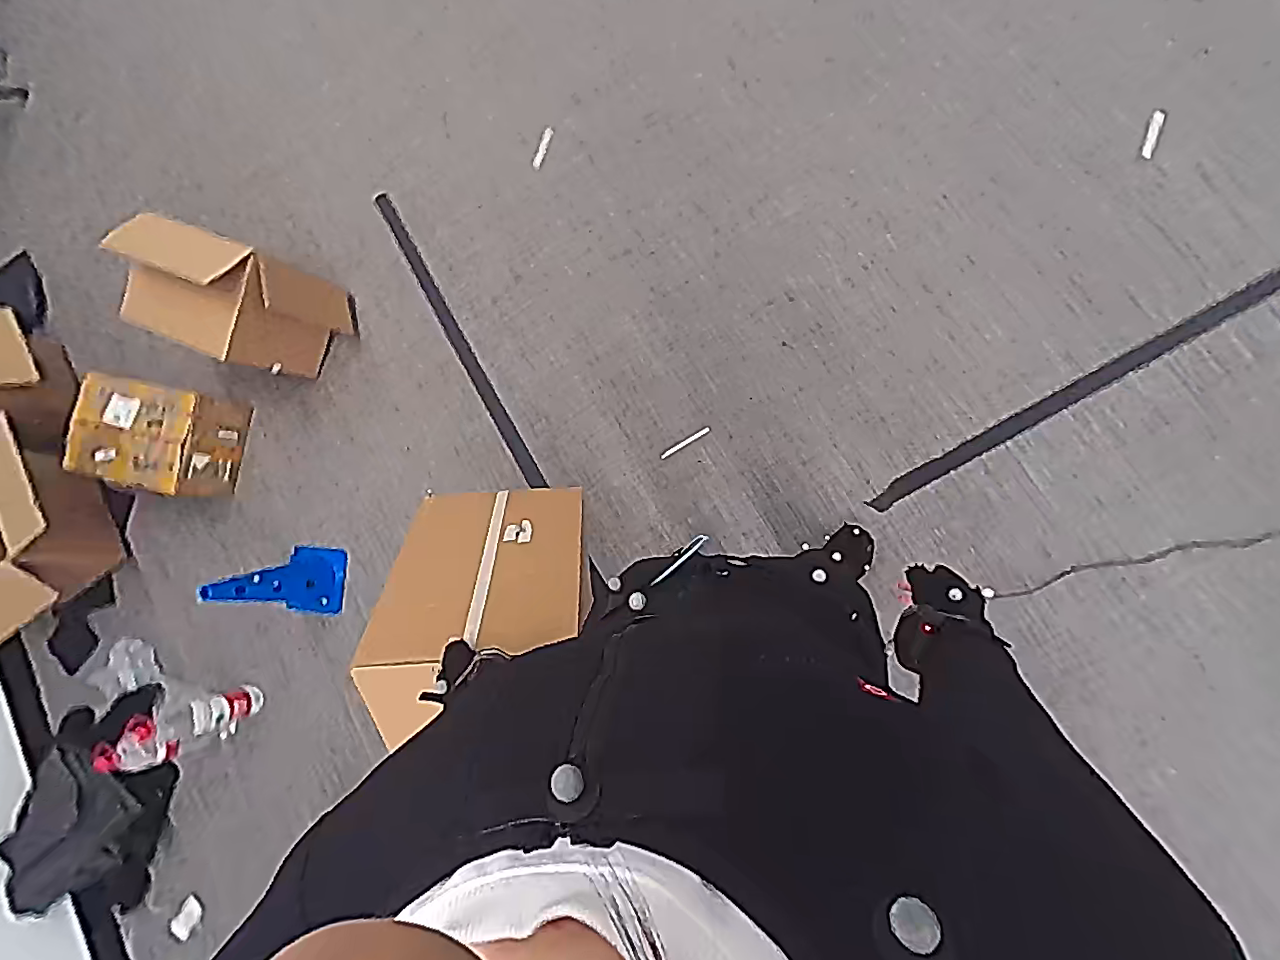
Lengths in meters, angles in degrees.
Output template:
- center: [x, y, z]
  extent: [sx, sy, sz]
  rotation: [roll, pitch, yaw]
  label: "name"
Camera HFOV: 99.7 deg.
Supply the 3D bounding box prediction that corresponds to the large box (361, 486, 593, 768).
- center: [-0.252, 0.254, 1.007]
  extent: [0.320, 0.408, 0.320]
  rotation: [-1, 124, -2]
  label: "large box"
